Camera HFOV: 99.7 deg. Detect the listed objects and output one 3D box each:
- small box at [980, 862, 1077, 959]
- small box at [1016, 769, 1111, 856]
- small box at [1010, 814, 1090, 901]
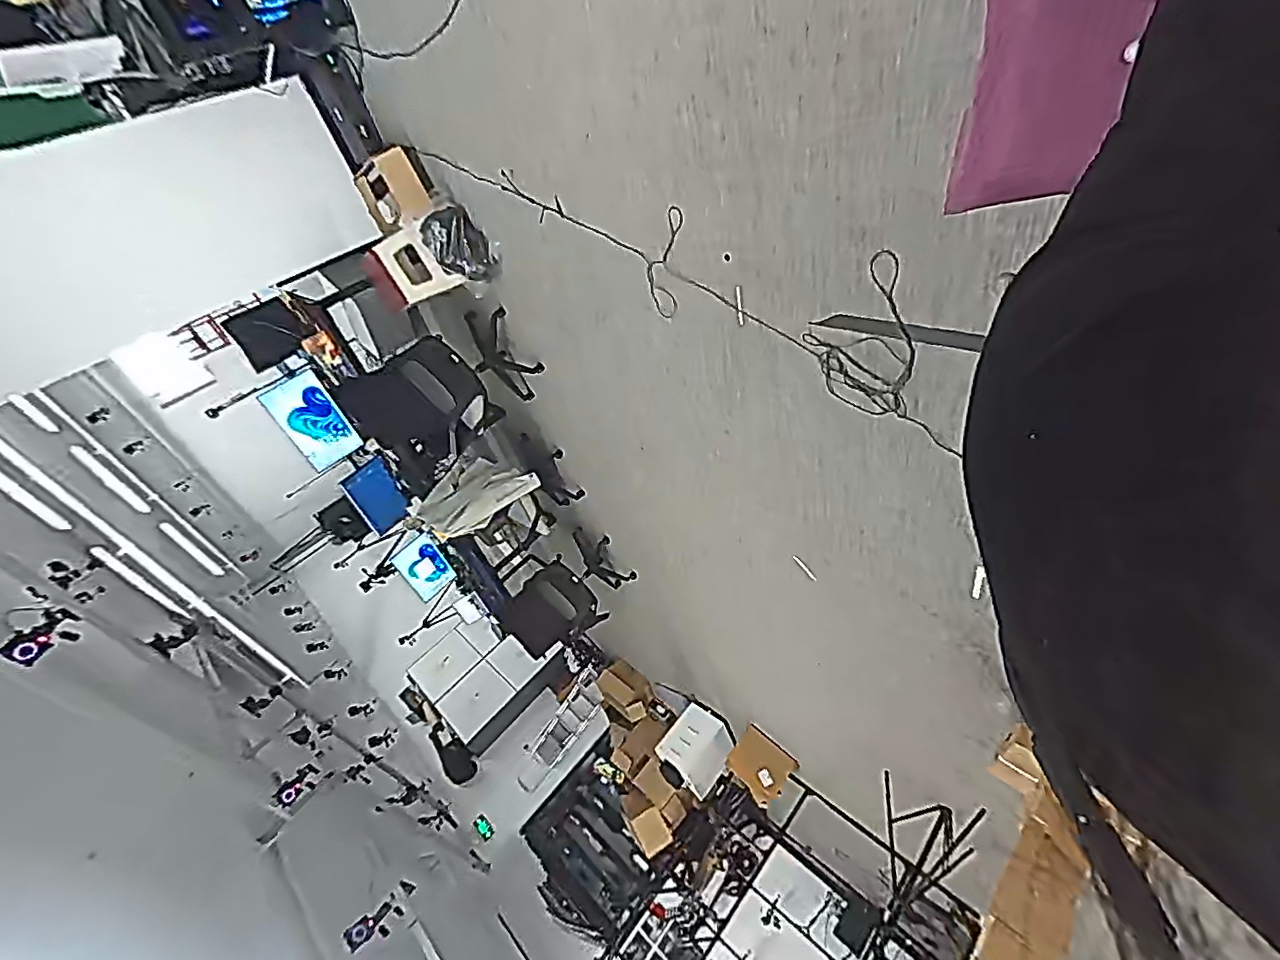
[{"bbox_3d":[1.156,1.284,1.613,0.179,0.176,0.168,25,146,40],"label":"small box"},{"bbox_3d":[1.370,1.079,1.747,0.179,0.176,0.168,31,149,32],"label":"small box"},{"bbox_3d":[1.270,1.190,1.682,0.168,0.176,0.179,20,143,45],"label":"small box"}]
